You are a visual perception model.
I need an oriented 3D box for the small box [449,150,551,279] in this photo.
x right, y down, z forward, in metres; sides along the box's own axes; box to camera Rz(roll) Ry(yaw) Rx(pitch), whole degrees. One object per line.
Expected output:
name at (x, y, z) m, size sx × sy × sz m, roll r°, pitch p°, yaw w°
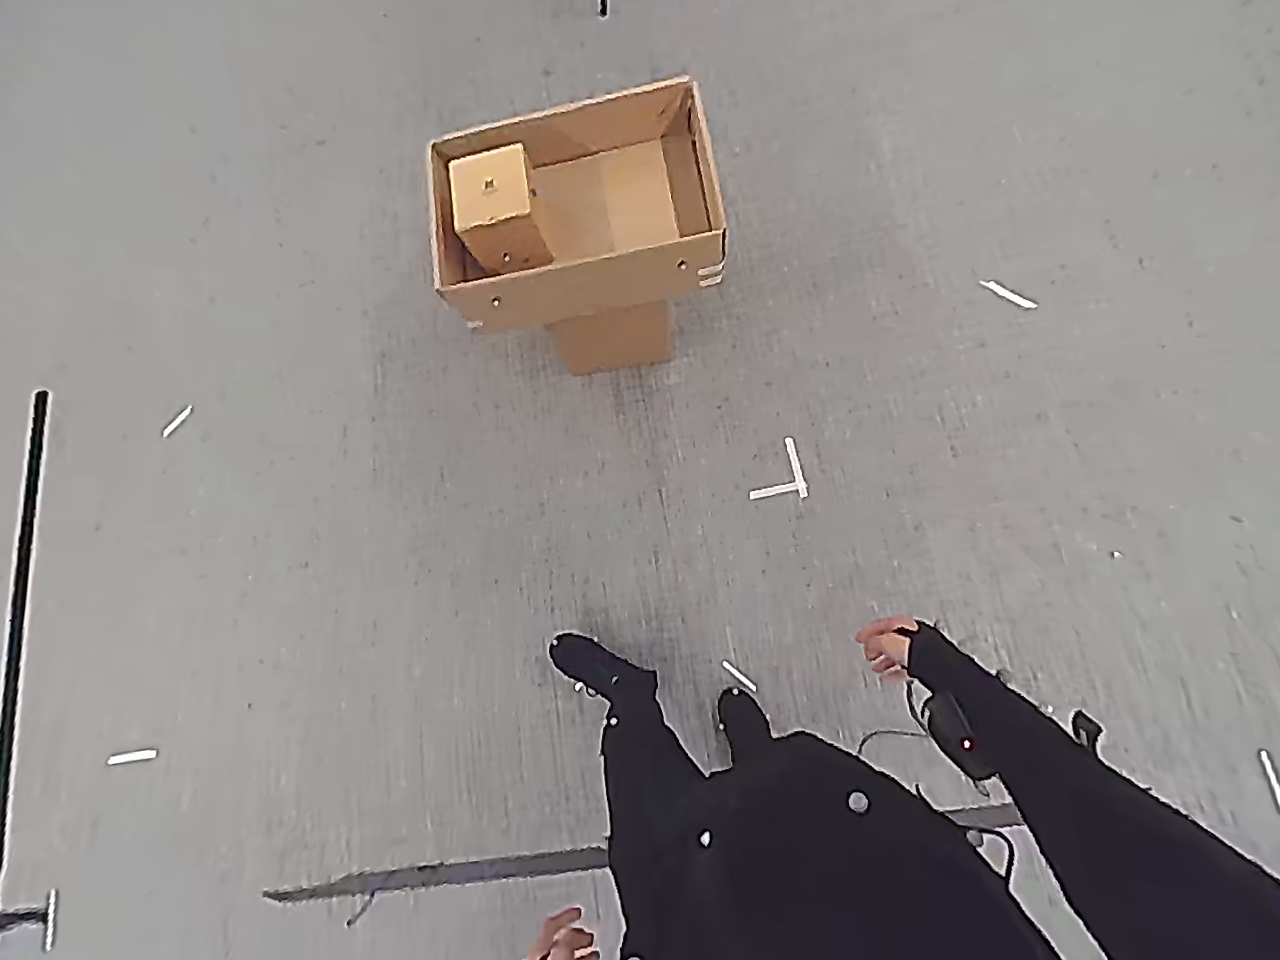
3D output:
small box at (-0.308, -0.587, 1.211) m, size 0.168 × 0.176 × 0.179 m, roll -12°, pitch 77°, yaw 6°
